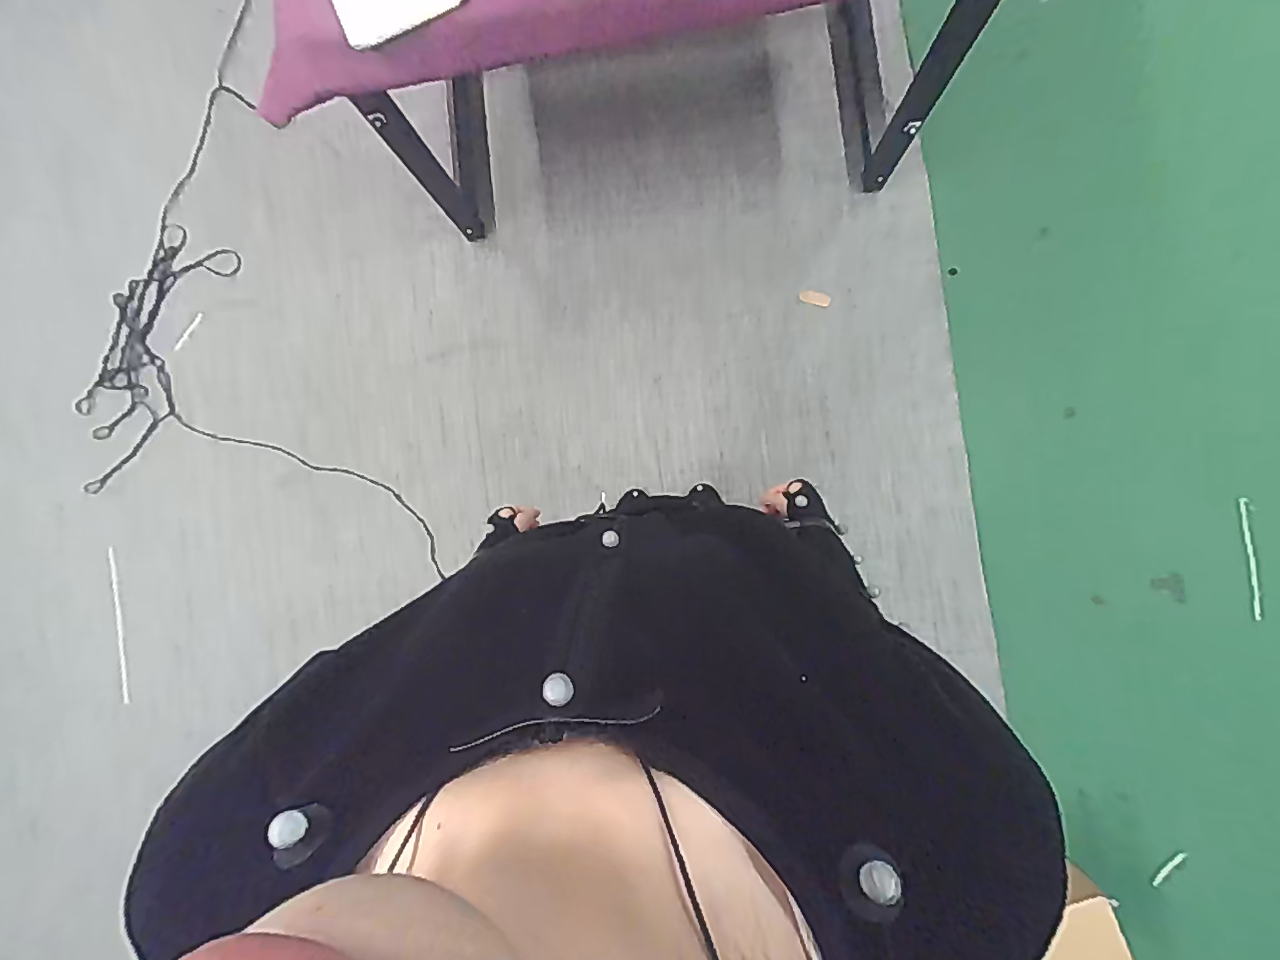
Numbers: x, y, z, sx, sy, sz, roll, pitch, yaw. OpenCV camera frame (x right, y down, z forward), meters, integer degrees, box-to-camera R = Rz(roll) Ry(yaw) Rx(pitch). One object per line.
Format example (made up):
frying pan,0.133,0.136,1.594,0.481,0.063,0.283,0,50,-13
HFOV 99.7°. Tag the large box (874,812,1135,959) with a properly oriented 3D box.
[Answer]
large box,0.841,1.068,1.266,0.408,0.320,0.320,-21,87,3
